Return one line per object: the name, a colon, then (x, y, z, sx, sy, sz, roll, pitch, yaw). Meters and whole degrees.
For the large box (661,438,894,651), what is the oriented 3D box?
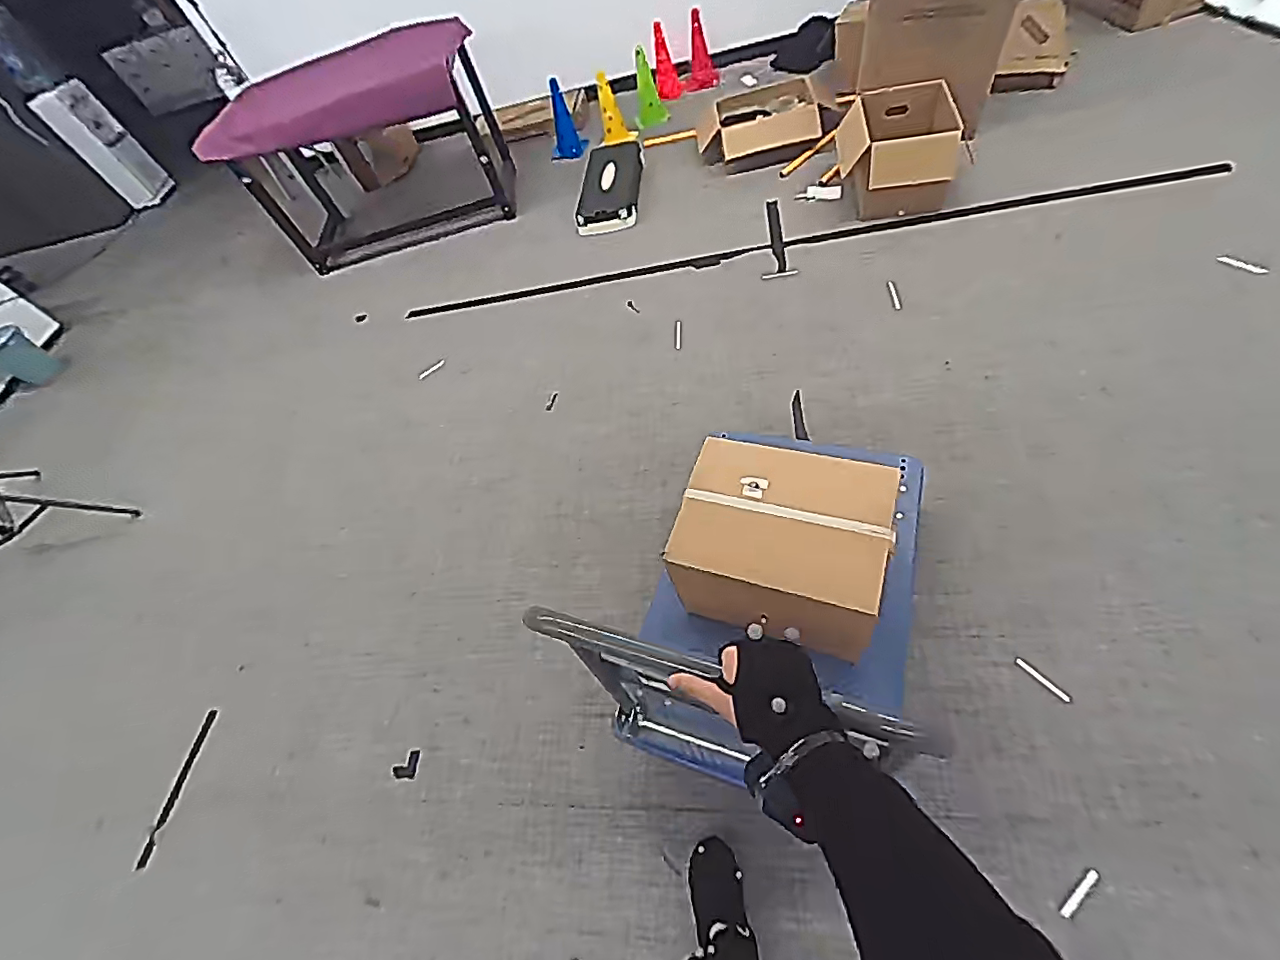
large box: (0.309, 0.140, 1.185, 0.408, 0.320, 0.320, 10, 60, 23)
